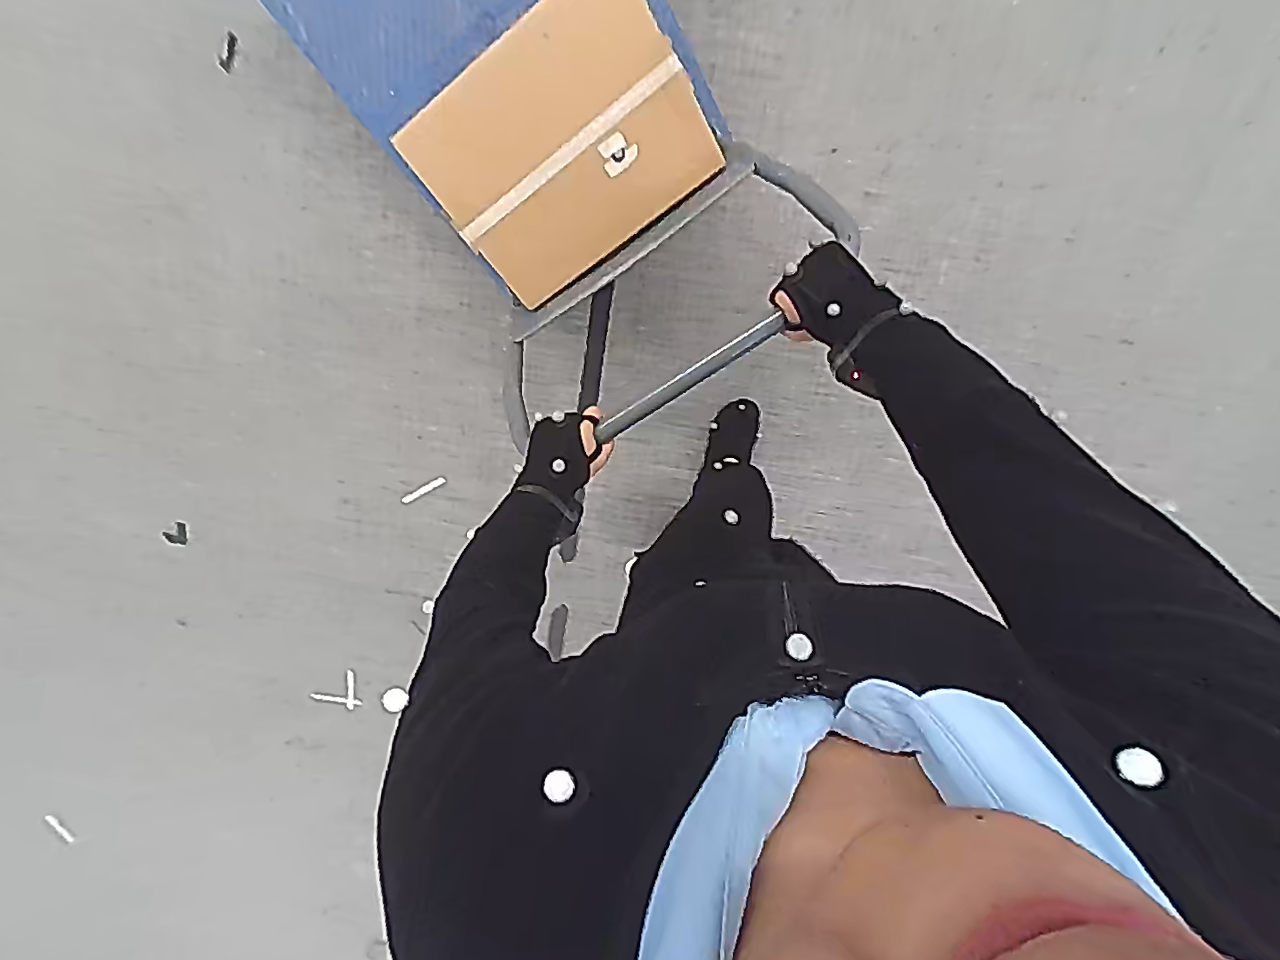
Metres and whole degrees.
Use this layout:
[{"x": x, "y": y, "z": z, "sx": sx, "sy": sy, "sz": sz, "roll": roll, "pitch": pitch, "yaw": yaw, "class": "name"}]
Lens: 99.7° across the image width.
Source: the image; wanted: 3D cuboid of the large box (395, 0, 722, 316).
[{"x": -0.133, "y": -0.565, "z": 0.935, "sx": 0.408, "sy": 0.320, "sz": 0.320, "roll": -33, "pitch": 123, "yaw": 14, "class": "large box"}]
